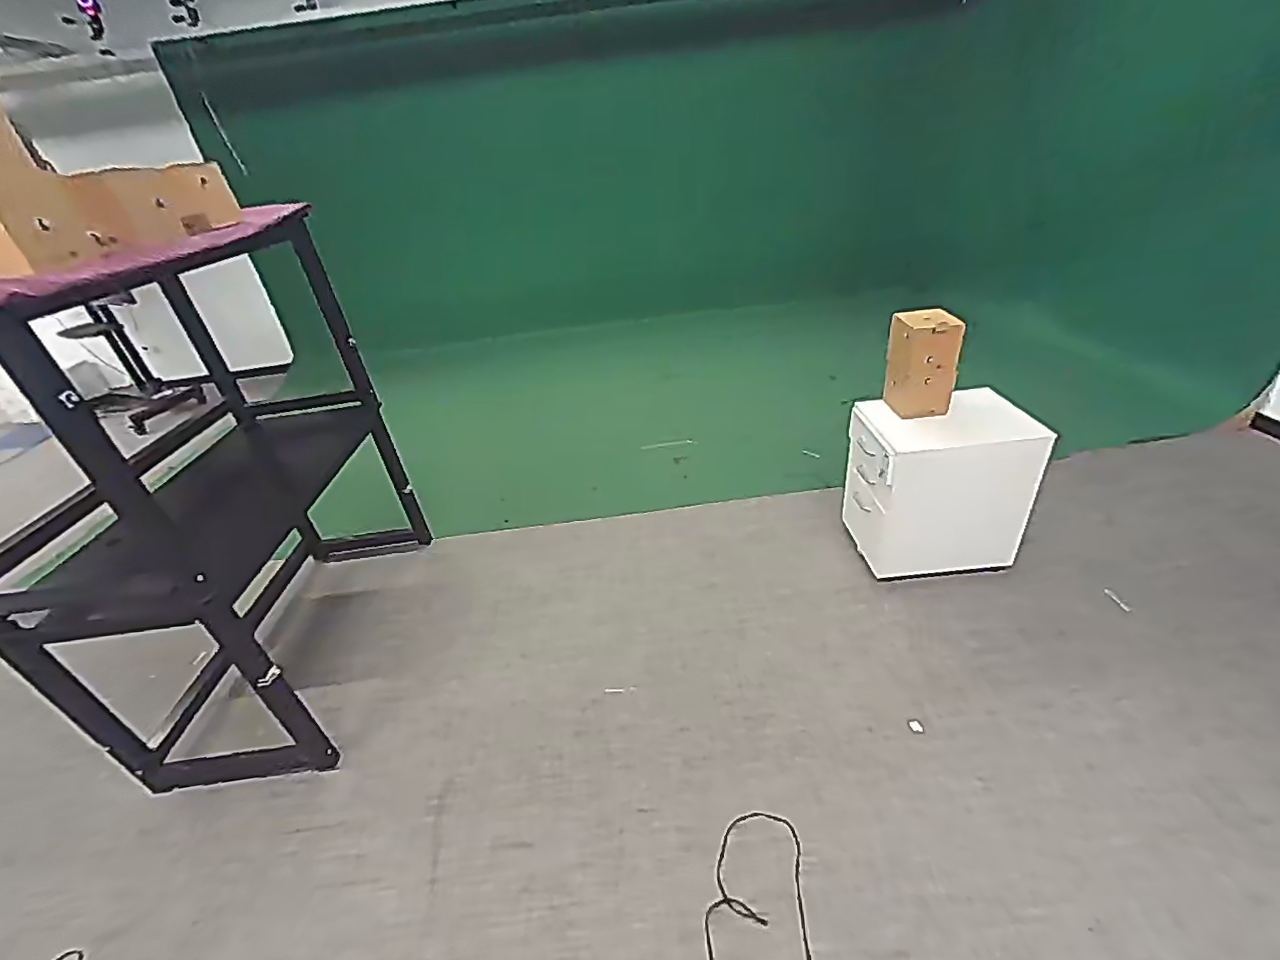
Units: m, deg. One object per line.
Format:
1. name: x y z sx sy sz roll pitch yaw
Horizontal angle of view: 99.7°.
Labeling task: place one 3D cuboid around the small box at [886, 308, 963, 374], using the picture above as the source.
1. small box: 0.971 -0.479 1.865 0.168 0.176 0.179 -6 34 1

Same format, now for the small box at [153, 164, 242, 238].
1. small box: -1.328 -0.814 1.589 0.168 0.176 0.179 -9 33 3

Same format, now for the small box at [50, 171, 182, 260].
1. small box: -1.279 -0.644 1.319 0.168 0.176 0.179 -9 33 -1

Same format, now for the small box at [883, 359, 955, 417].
1. small box: 0.996 -0.342 1.950 0.168 0.176 0.179 -7 33 2

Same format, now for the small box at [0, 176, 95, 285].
1. small box: -1.223 -0.470 1.029 0.179 0.176 0.168 -9 31 -2
